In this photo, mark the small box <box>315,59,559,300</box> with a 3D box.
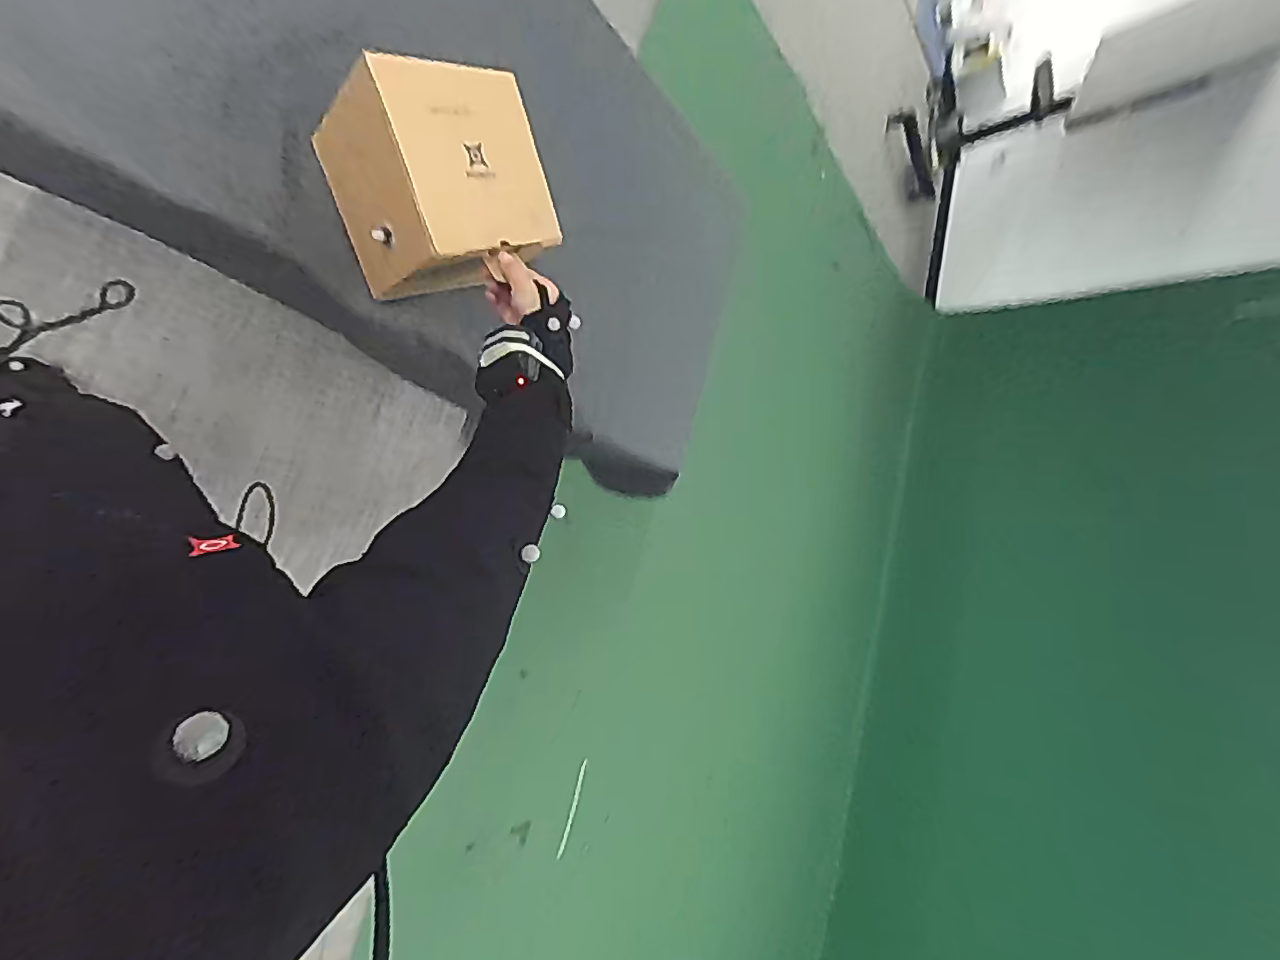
[{"bbox_3d":[-0.223,-0.309,0.598,0.168,0.176,0.179,-28,107,-43],"label":"small box"}]
